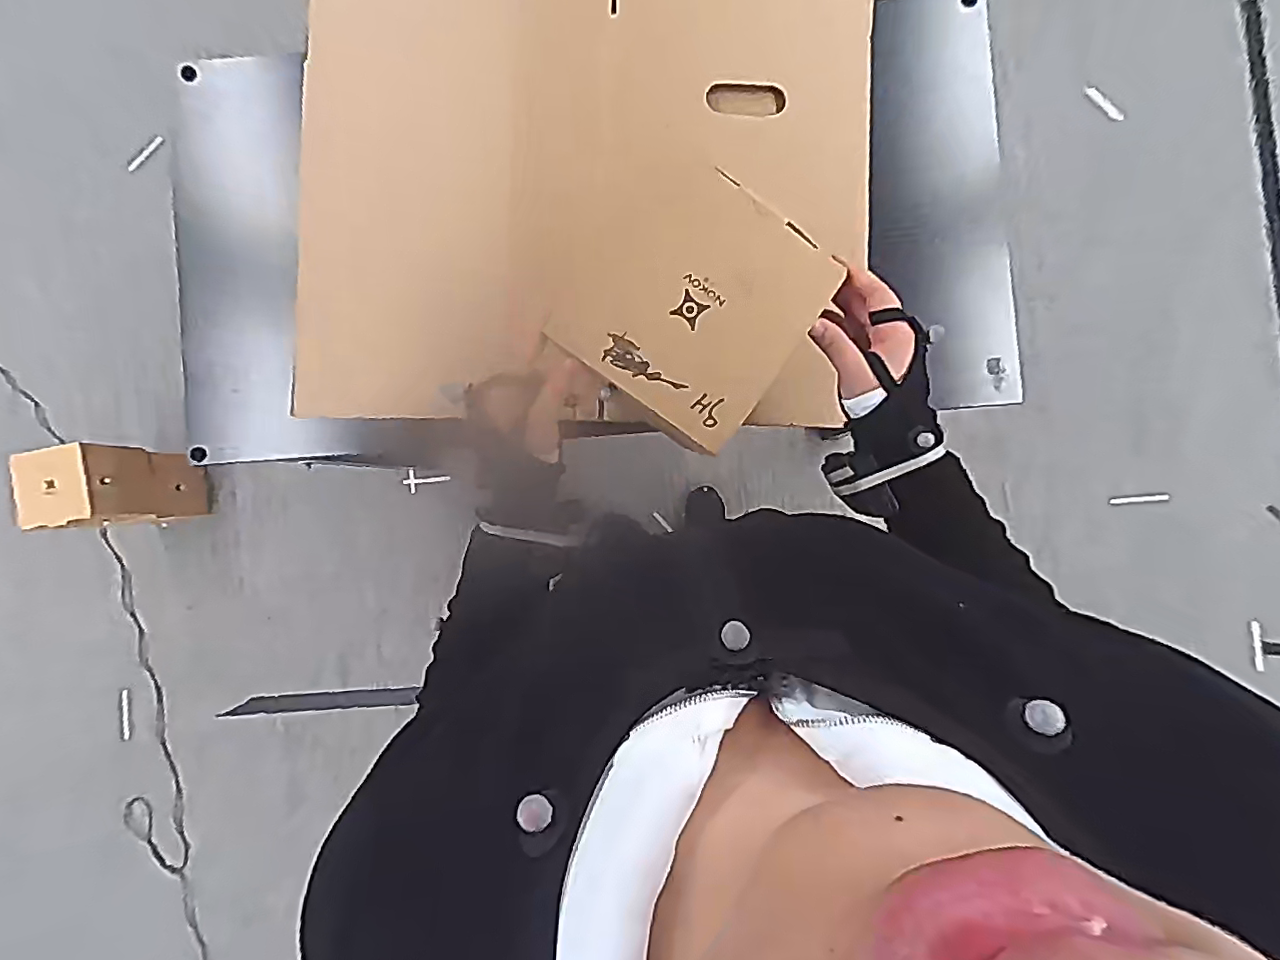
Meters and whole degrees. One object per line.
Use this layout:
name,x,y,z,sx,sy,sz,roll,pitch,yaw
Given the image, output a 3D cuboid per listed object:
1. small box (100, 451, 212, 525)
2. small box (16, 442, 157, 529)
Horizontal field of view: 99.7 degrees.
small box,-1.310,0.024,1.463,0.168,0.176,0.179,-8,89,2
small box,-1.317,0.014,1.301,0.168,0.176,0.179,-11,87,0
